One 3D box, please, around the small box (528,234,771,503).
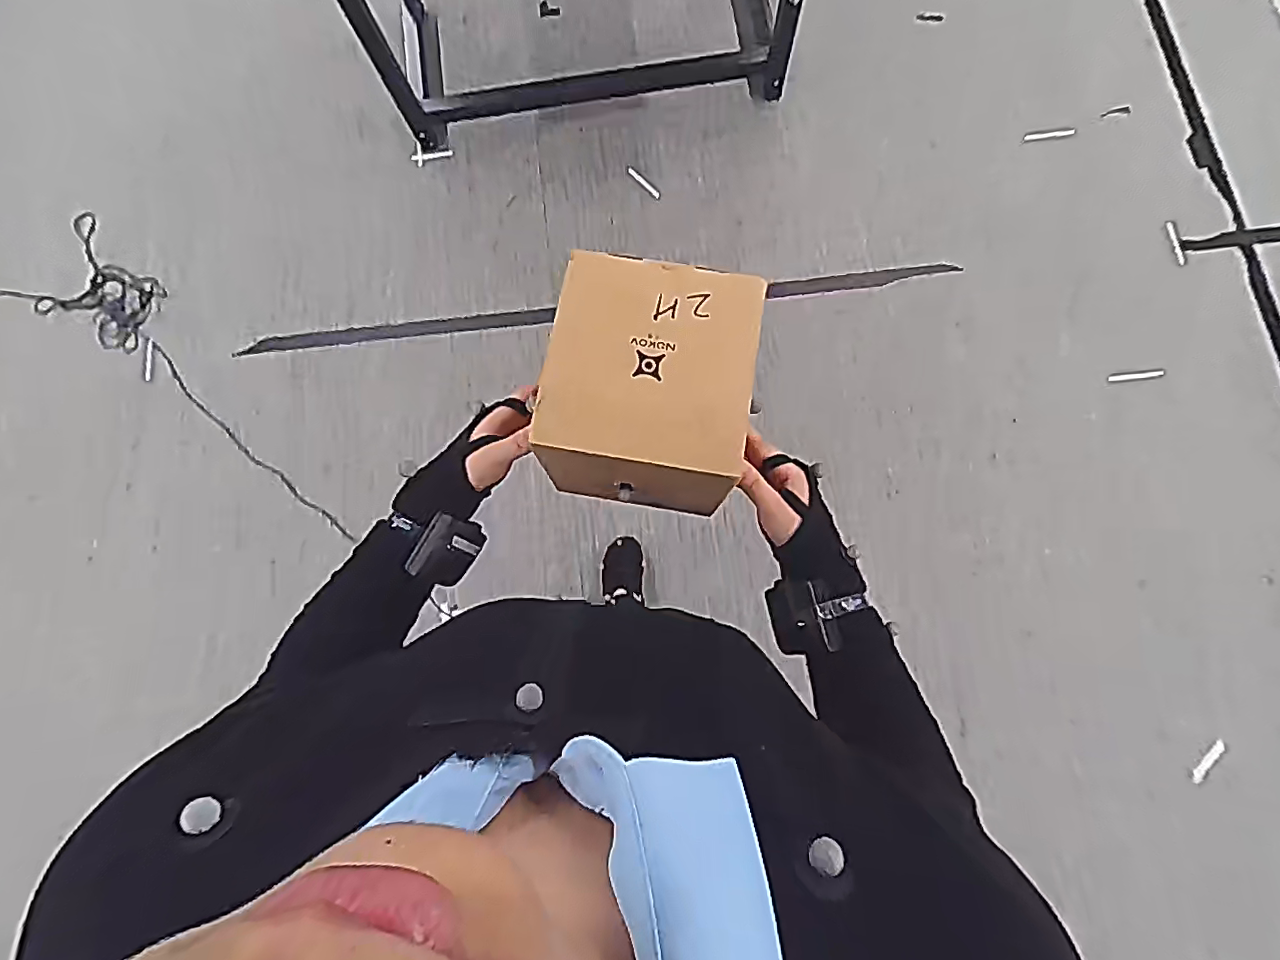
[{"bbox_3d":[0.010,-0.086,0.496,0.168,0.176,0.179,10,76,1],"label":"small box"}]
